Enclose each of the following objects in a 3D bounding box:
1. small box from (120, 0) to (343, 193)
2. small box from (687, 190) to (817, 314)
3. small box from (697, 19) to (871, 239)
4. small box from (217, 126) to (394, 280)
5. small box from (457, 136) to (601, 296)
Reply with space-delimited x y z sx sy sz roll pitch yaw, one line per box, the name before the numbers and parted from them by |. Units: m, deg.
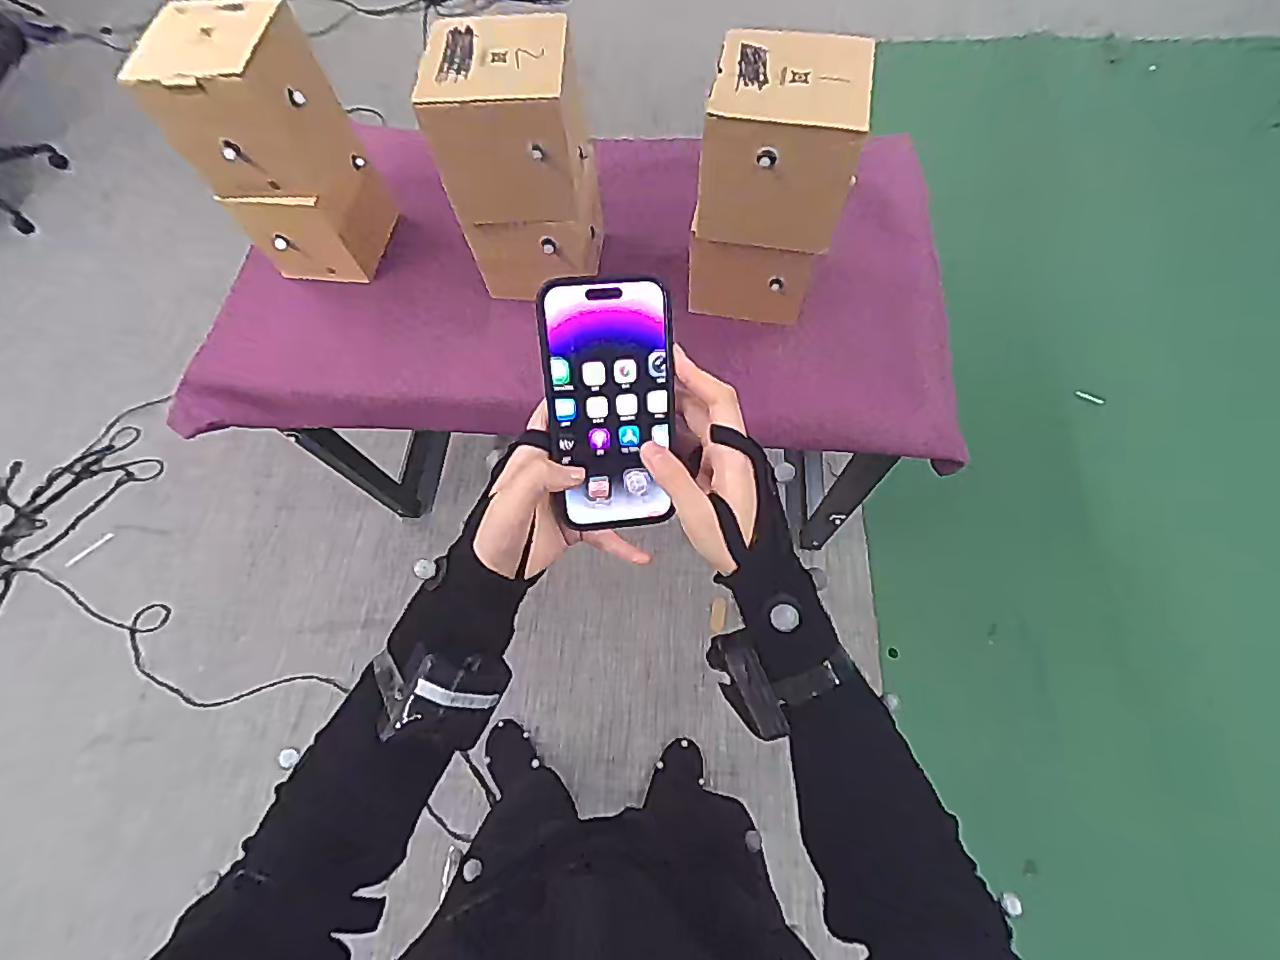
small box | -0.559 -0.535 0.770 0.168 0.176 0.179 0 67 3
small box | 0.173 -0.377 0.830 0.179 0.176 0.168 10 67 9
small box | 0.169 -0.428 0.673 0.179 0.176 0.168 10 67 8
small box | -0.549 -0.463 0.918 0.168 0.176 0.179 5 67 6
small box | -0.164 -0.416 0.868 0.179 0.176 0.168 4 67 6
